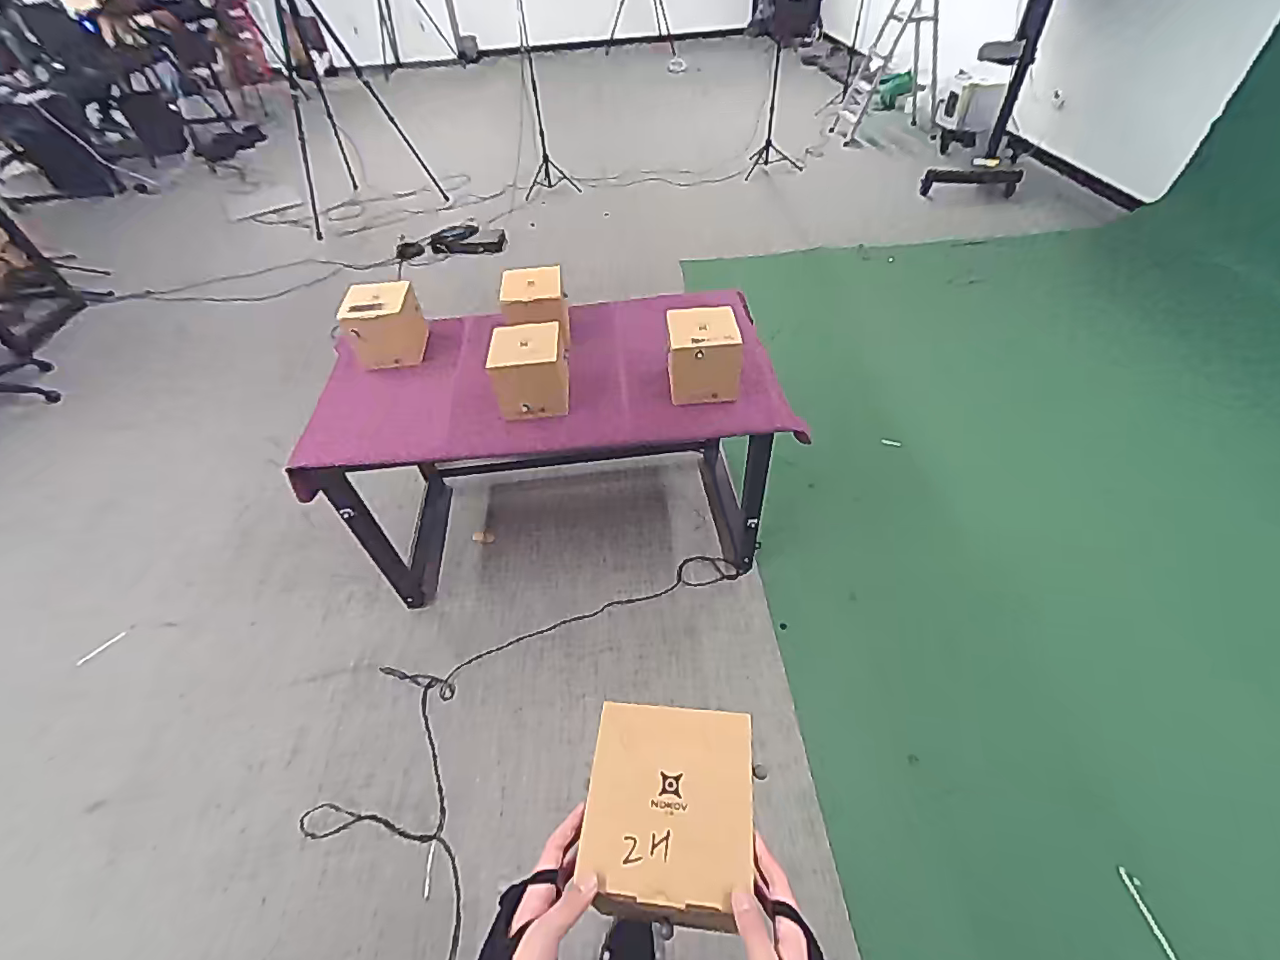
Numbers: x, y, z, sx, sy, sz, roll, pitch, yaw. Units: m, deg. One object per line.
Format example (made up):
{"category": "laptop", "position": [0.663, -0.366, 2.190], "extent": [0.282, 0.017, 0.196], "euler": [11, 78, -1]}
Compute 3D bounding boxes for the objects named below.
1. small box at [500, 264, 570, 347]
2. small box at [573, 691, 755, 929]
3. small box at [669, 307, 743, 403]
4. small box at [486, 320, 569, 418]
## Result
{"category": "small box", "position": [-0.294, -0.491, 1.542], "extent": [0.168, 0.176, 0.179], "euler": [-6, 49, -3]}
{"category": "small box", "position": [0.037, 0.358, 0.591], "extent": [0.168, 0.176, 0.179], "euler": [2, 46, 9]}
{"category": "small box", "position": [0.157, -0.310, 1.345], "extent": [0.168, 0.176, 0.179], "euler": [-4, 45, 1]}
{"category": "small box", "position": [-0.271, -0.274, 1.340], "extent": [0.168, 0.176, 0.179], "euler": [-5, 47, 0]}
